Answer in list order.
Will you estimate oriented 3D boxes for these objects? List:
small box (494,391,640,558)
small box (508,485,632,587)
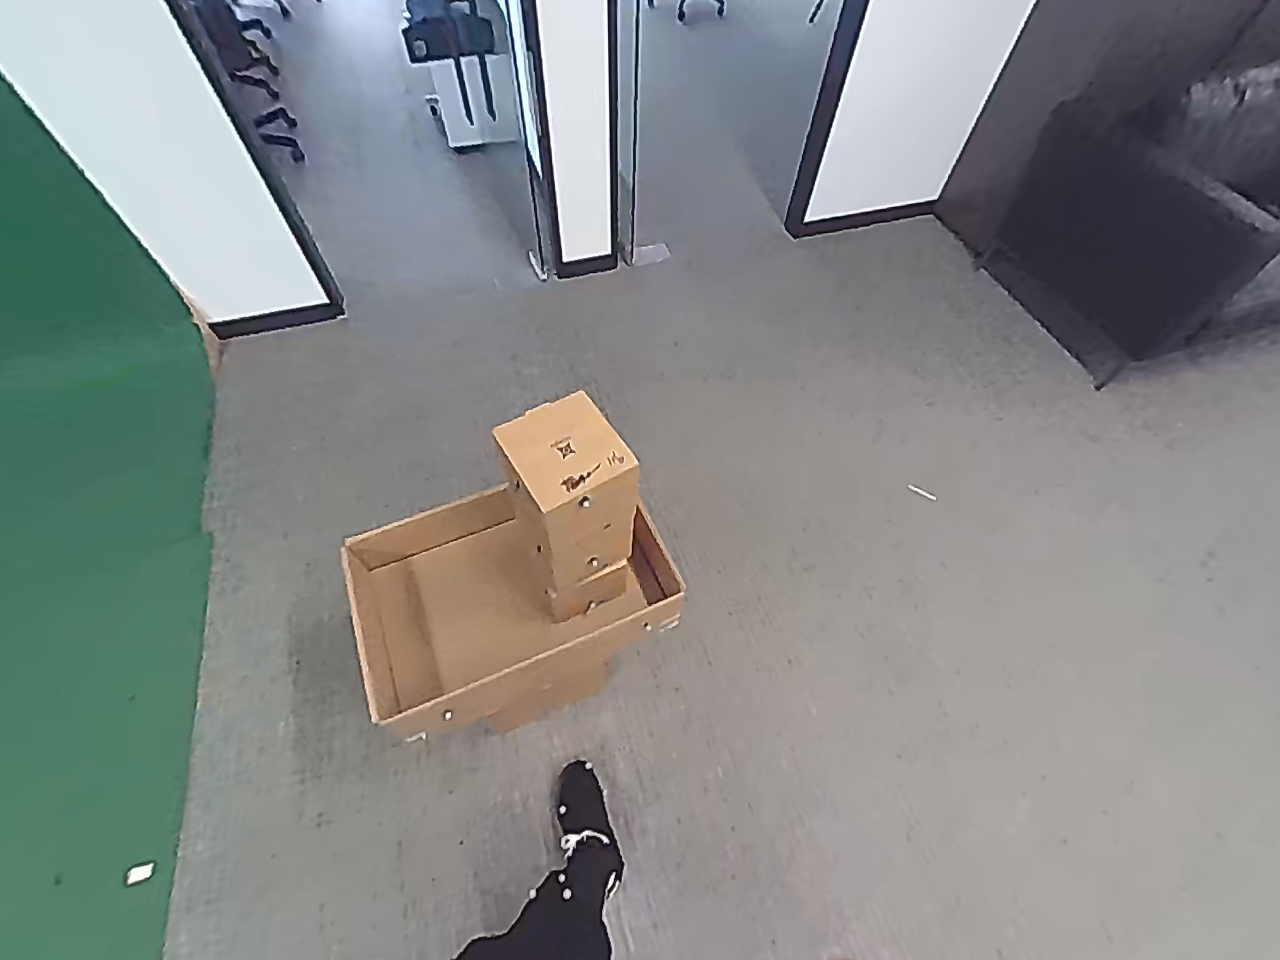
[{"bbox_3d":[-0.116,-0.006,0.880,0.168,0.176,0.179,-28,62,-19],"label":"small box"},{"bbox_3d":[-0.127,0.082,1.018,0.168,0.176,0.179,-26,62,-19],"label":"small box"}]
